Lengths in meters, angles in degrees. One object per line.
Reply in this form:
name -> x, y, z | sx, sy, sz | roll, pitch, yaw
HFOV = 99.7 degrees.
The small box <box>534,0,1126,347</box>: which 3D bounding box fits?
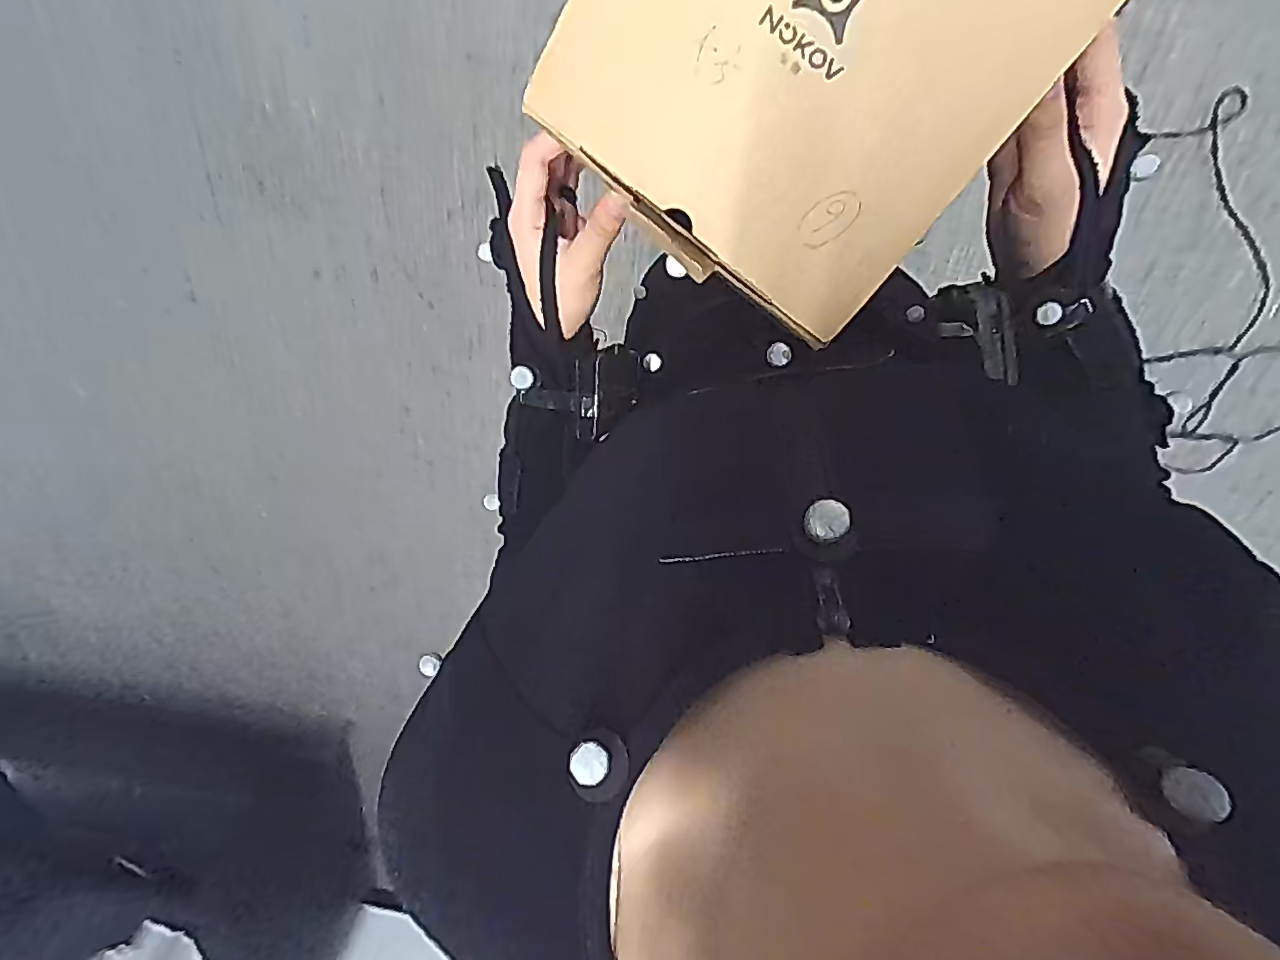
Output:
small box -> 0.081, -0.195, 0.283 | 0.168, 0.176, 0.179 | 38, 111, -4
